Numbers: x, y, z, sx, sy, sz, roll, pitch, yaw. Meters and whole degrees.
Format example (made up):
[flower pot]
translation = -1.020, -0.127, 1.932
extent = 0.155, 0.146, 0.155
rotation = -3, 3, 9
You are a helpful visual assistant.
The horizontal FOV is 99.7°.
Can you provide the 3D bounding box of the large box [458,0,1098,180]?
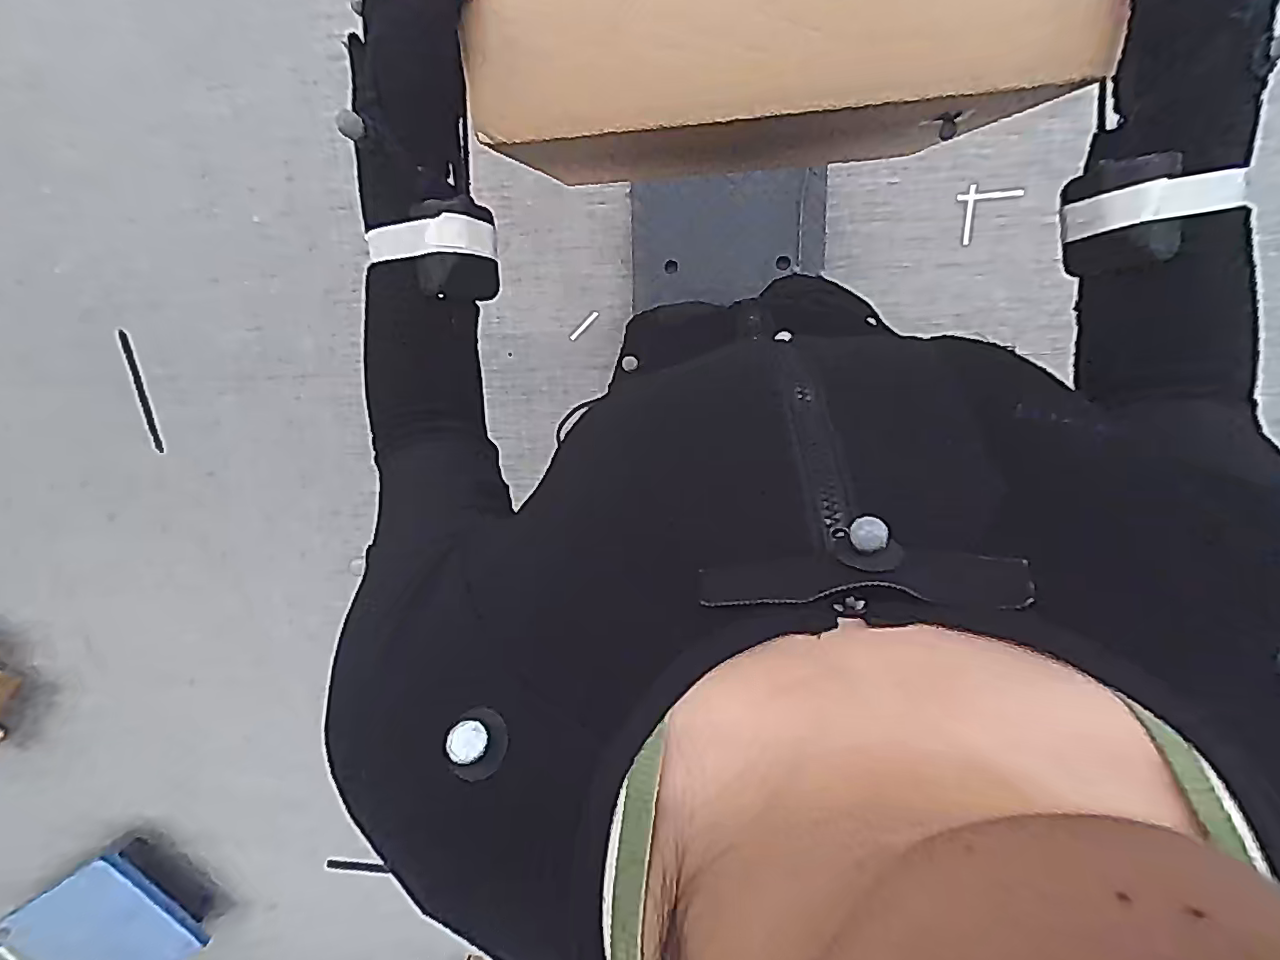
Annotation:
[large box]
translation = 0.084, -0.445, 0.436
extent = 0.408, 0.320, 0.320
rotation = -3, 113, 4
